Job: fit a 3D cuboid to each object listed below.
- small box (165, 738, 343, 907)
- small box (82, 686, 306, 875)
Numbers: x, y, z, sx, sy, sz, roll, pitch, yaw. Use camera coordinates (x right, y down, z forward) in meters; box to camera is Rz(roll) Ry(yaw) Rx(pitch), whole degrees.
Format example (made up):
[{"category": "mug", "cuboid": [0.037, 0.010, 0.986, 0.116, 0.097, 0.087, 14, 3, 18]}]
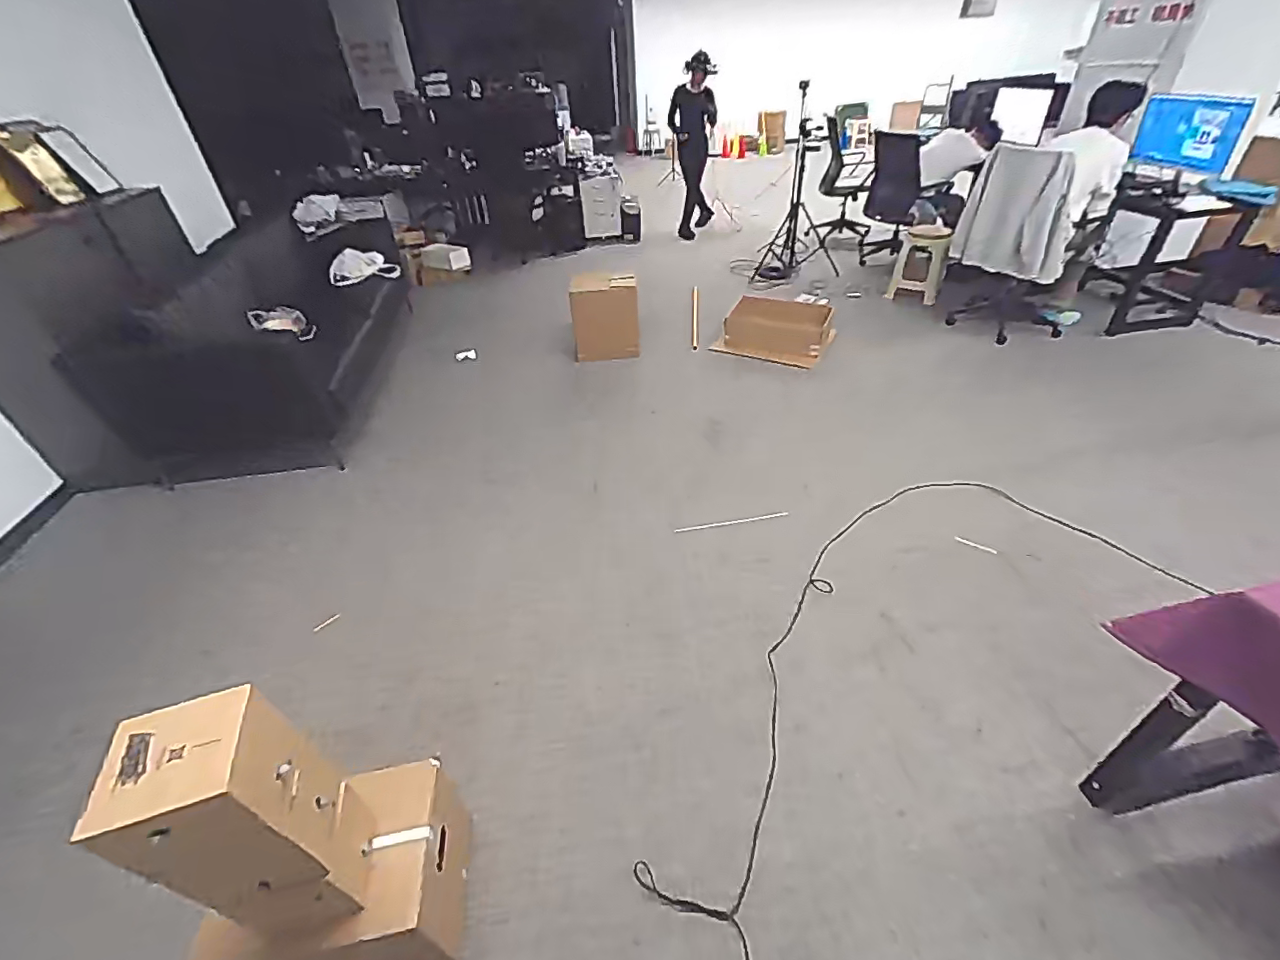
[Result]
[{"category": "small box", "cuboid": [-0.623, 0.571, 0.904, 0.179, 0.176, 0.168, -13, 40, -12]}, {"category": "small box", "cuboid": [-0.634, 0.444, 0.799, 0.179, 0.176, 0.168, -14, 41, -13]}]
